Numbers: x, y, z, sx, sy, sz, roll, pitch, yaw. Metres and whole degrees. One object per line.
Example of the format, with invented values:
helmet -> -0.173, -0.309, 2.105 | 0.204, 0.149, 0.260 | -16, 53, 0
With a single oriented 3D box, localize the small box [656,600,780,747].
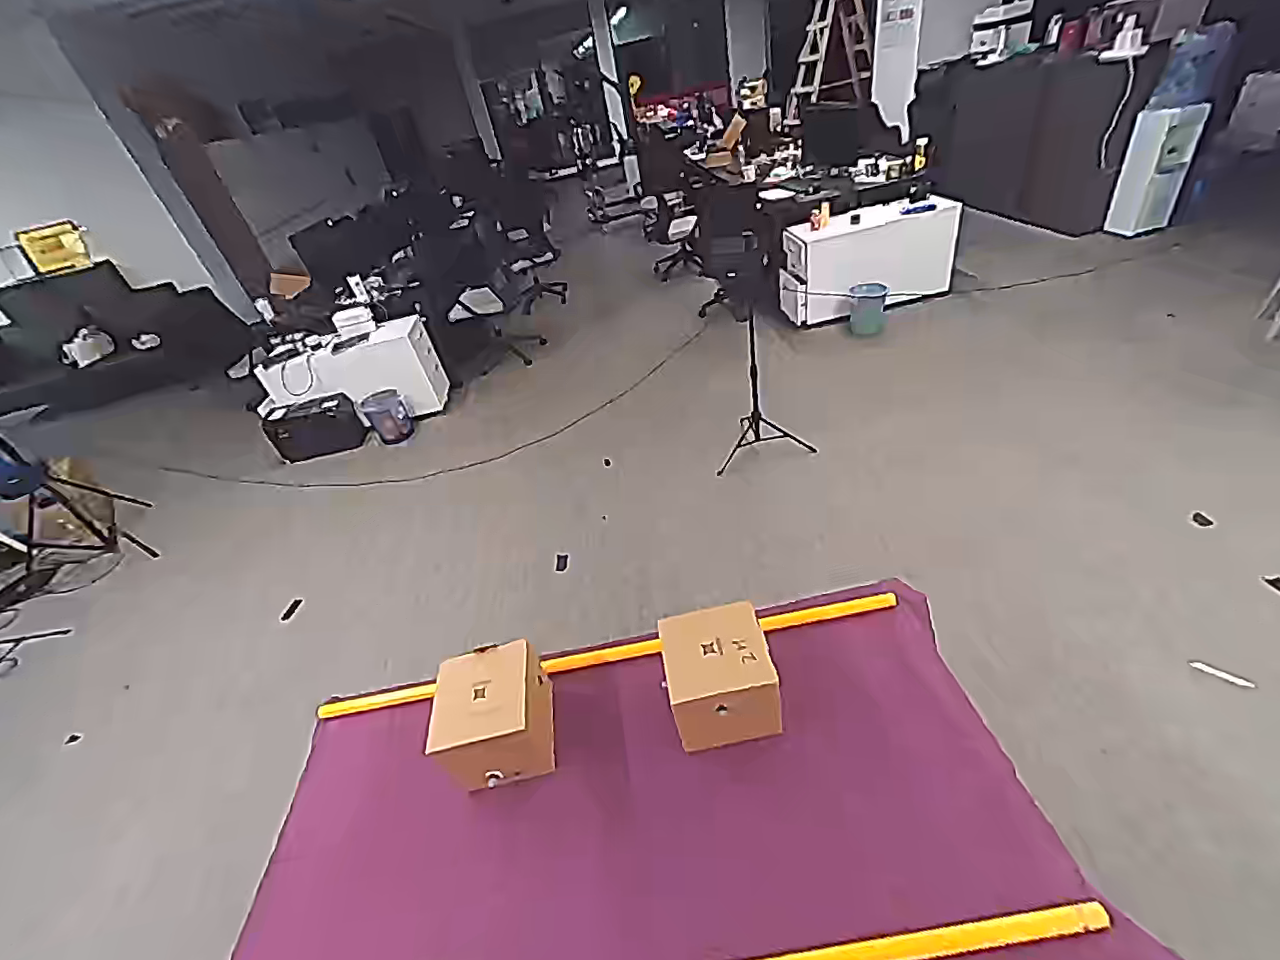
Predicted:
small box -> 0.136, 0.342, 0.950 | 0.179, 0.176, 0.168 | -13, 39, 2

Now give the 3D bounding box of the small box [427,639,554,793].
small box -> -0.257, 0.422, 0.970 | 0.168, 0.176, 0.179 | -14, 38, 0
